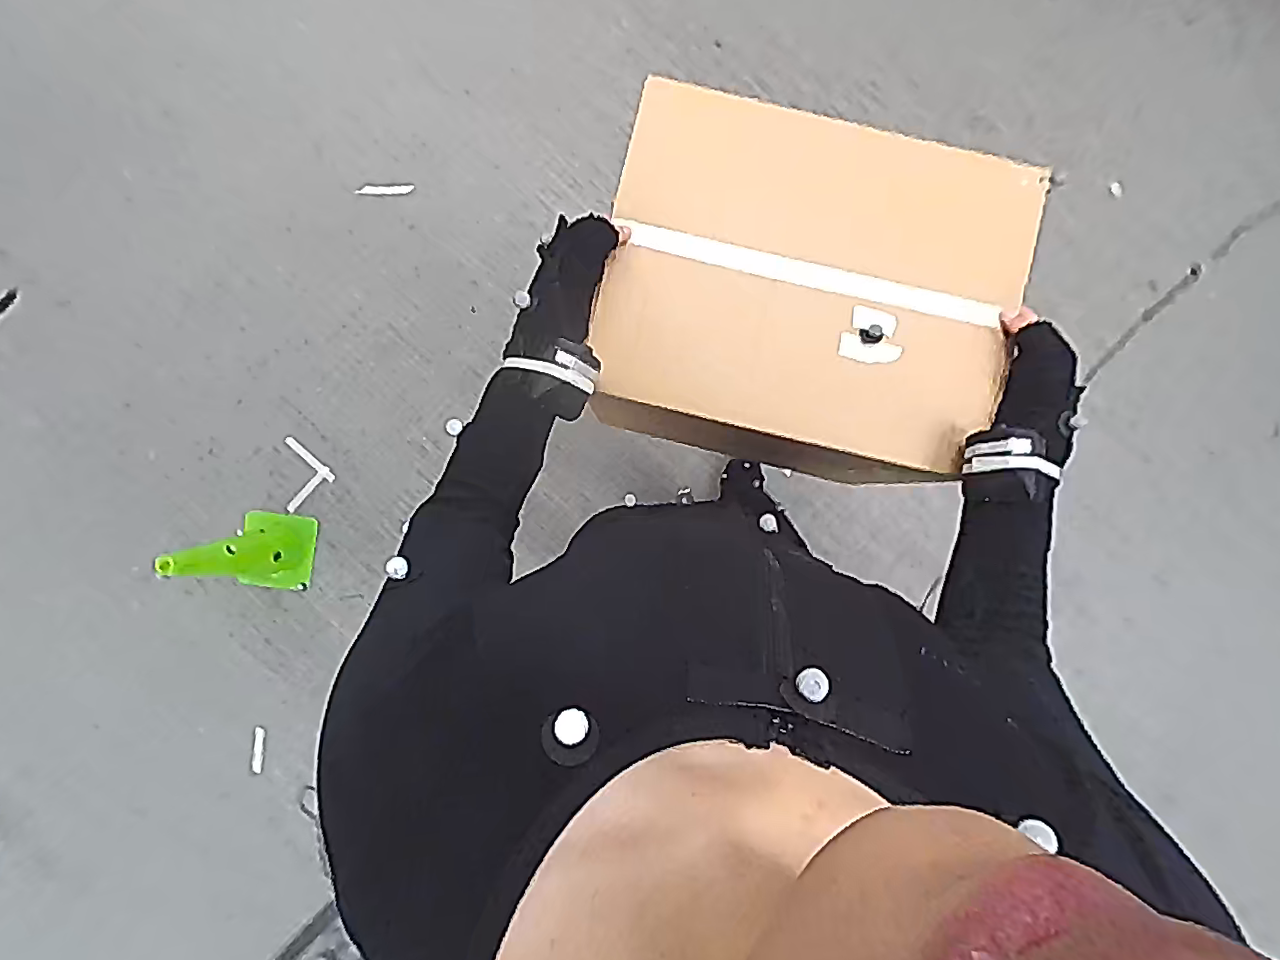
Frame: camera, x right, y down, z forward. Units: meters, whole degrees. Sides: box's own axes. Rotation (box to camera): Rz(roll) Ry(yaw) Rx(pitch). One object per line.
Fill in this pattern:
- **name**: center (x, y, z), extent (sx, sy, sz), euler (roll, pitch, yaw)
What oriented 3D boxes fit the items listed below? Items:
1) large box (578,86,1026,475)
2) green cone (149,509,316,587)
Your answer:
- **large box**: center (0.158, -0.199, 0.680), extent (0.408, 0.320, 0.320), euler (13, 89, -1)
- **green cone**: center (-0.995, 0.175, 1.304), extent (0.202, 0.368, 0.200), euler (6, 87, 2)
